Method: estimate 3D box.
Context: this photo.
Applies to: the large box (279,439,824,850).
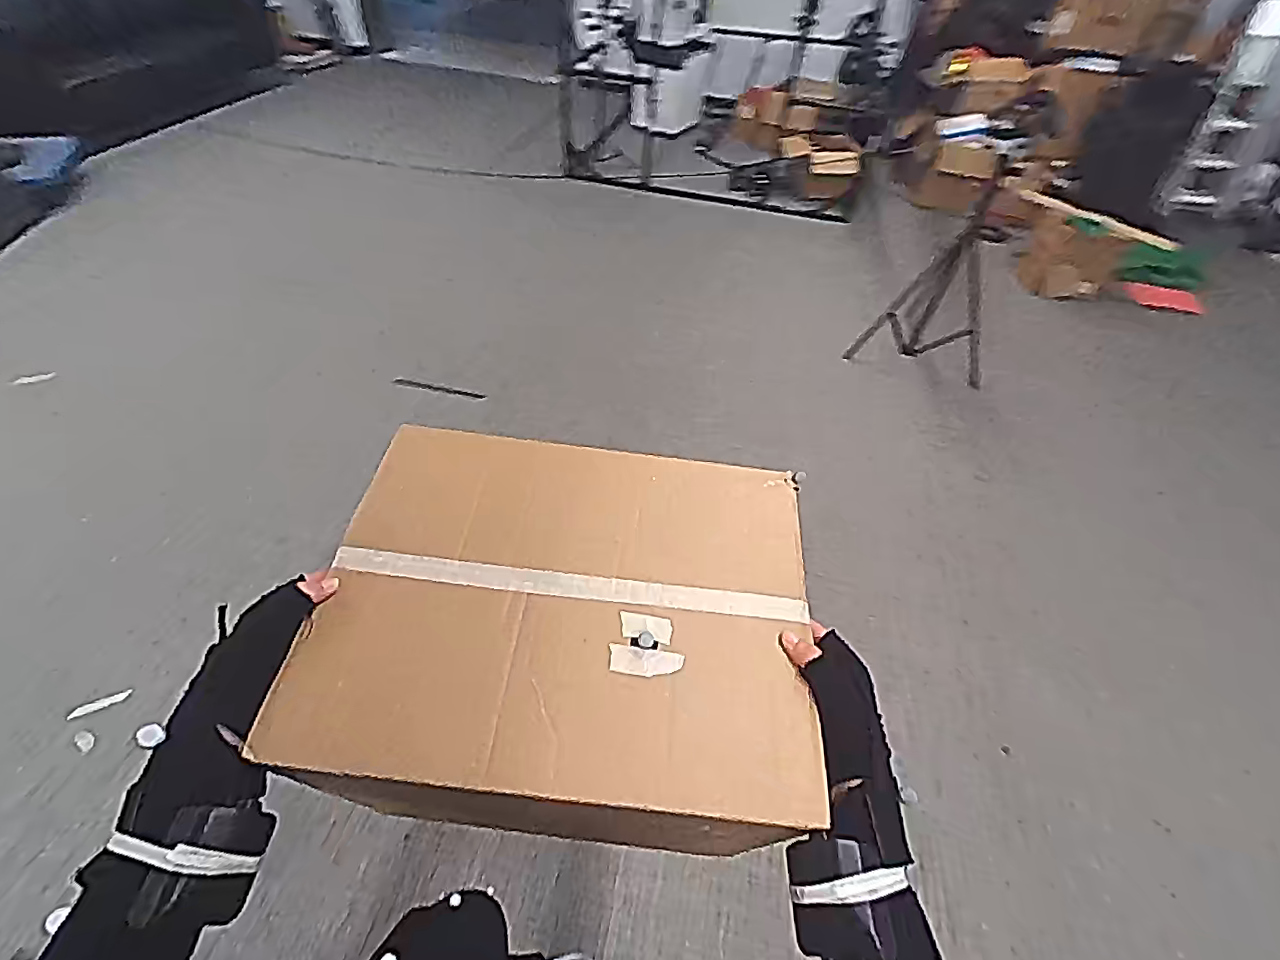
[{"bbox_3d":[-0.063,0.190,0.593,0.408,0.320,0.320,8,53,0],"label":"large box"}]
